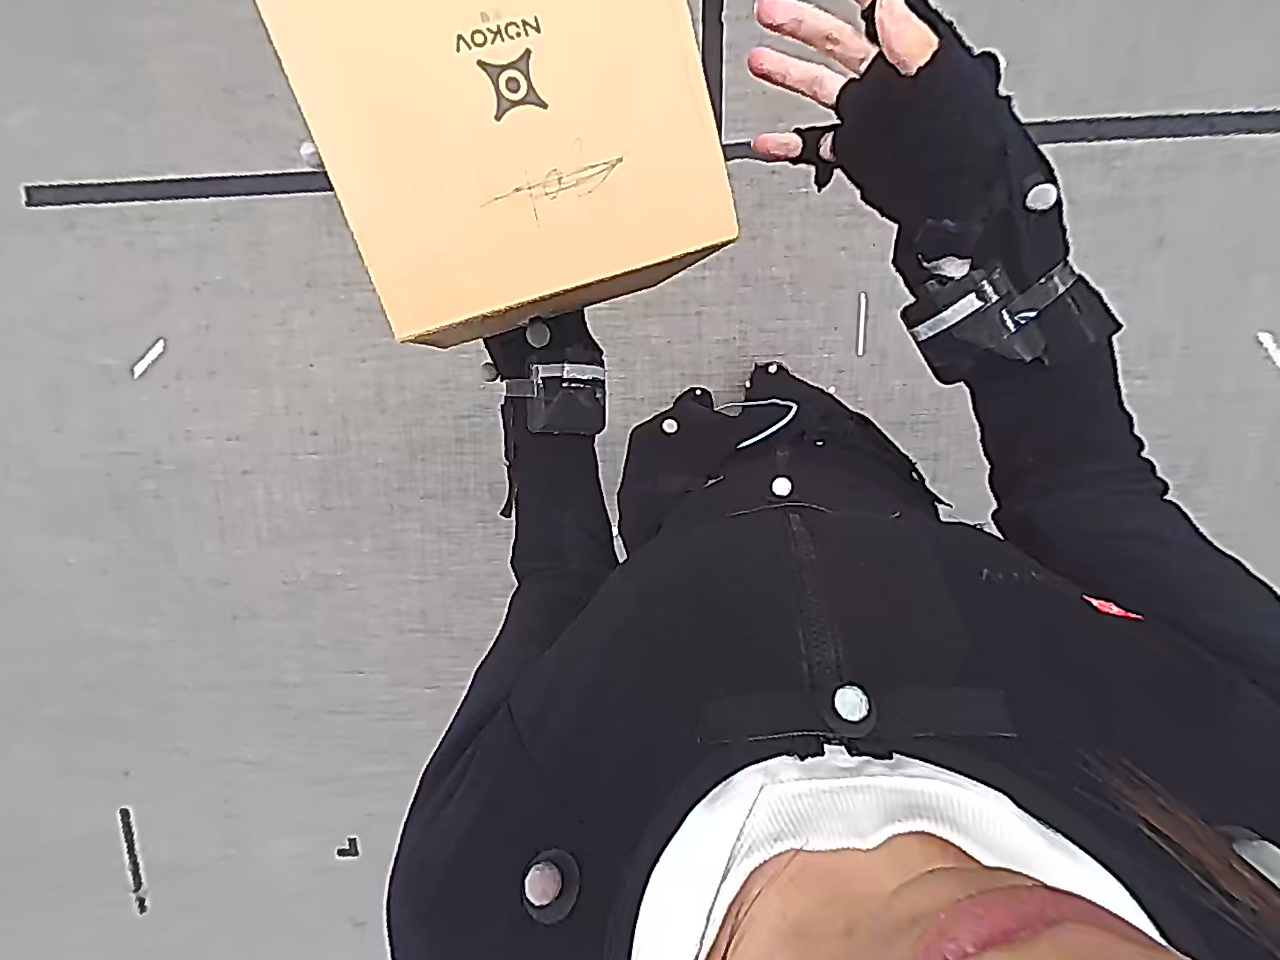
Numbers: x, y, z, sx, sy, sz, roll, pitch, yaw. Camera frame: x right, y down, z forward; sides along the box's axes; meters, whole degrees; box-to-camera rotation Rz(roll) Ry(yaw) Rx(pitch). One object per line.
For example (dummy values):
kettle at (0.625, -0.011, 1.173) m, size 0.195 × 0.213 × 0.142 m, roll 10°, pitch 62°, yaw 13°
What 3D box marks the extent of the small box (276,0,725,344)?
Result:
small box at (-0.073, -0.189, 0.314) m, size 0.168 × 0.176 × 0.179 m, roll -19°, pitch 105°, yaw -7°
